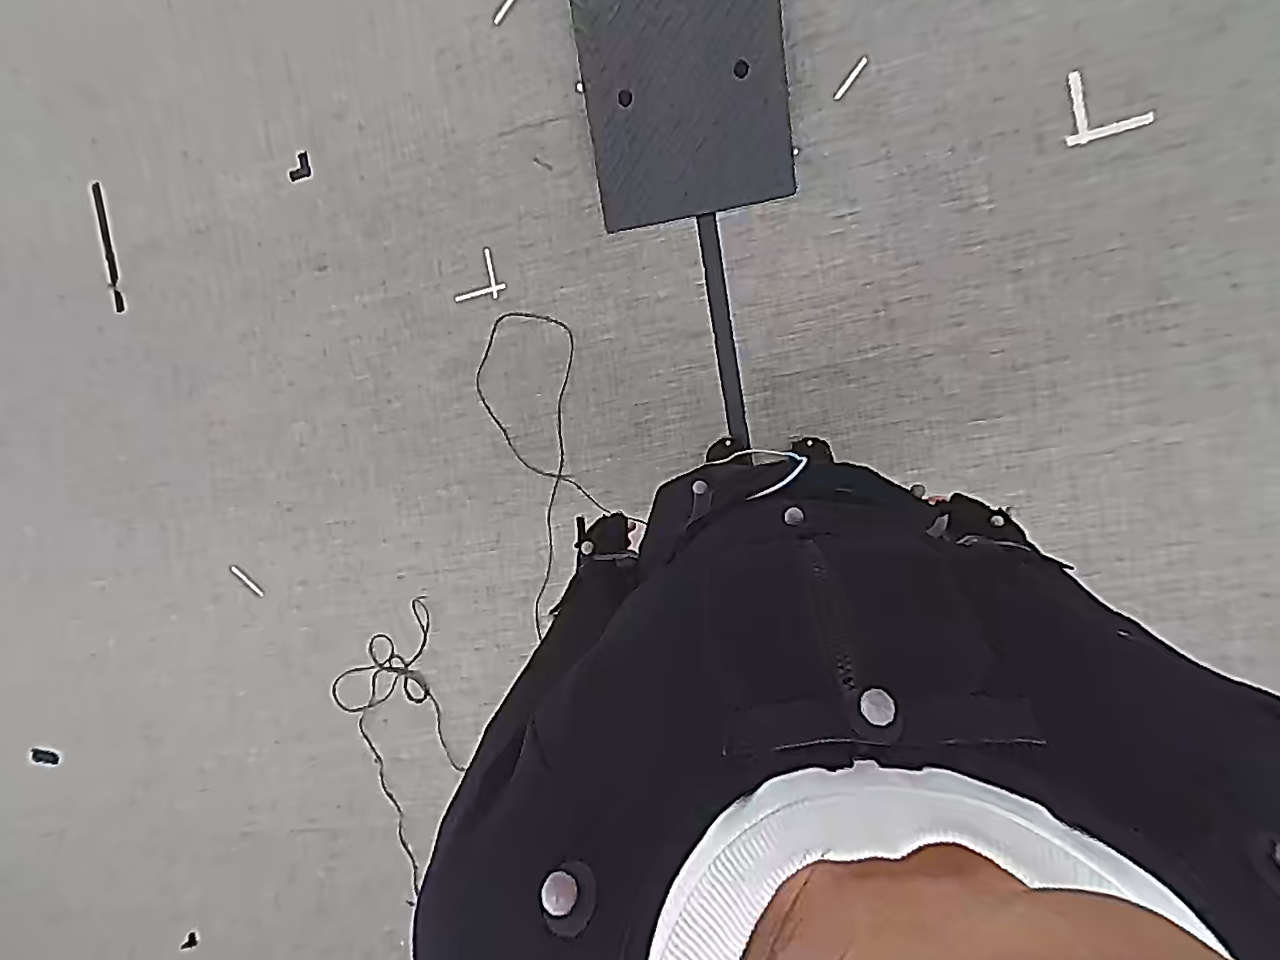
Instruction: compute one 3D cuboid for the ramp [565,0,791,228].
[{"bbox_3d":[0.063,-1.167,1.265,0.509,0.206,0.991,-9,94,10],"label":"ramp"}]
